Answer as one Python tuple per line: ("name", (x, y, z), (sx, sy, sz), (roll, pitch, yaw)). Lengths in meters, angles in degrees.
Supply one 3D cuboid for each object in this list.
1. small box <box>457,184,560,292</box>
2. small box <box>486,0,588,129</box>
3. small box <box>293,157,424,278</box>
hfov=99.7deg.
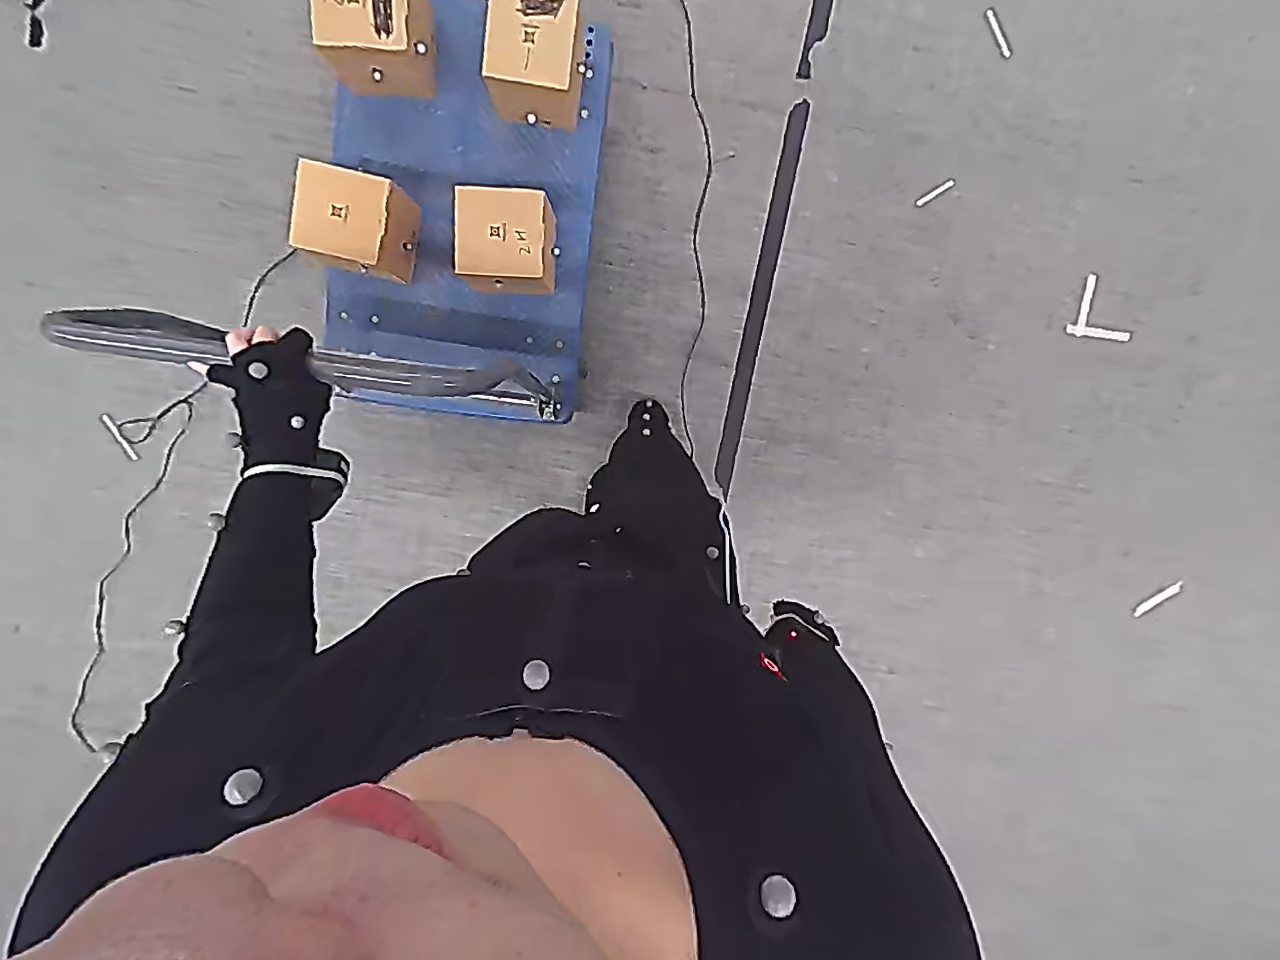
("small box", (-0.269, -0.496, 1.130), (0.179, 0.176, 0.168), (3, 98, -1))
("small box", (-0.198, -0.846, 1.080), (0.168, 0.176, 0.179), (8, 99, -3))
("small box", (-0.575, -0.531, 1.120), (0.179, 0.176, 0.168), (11, 98, -4))
